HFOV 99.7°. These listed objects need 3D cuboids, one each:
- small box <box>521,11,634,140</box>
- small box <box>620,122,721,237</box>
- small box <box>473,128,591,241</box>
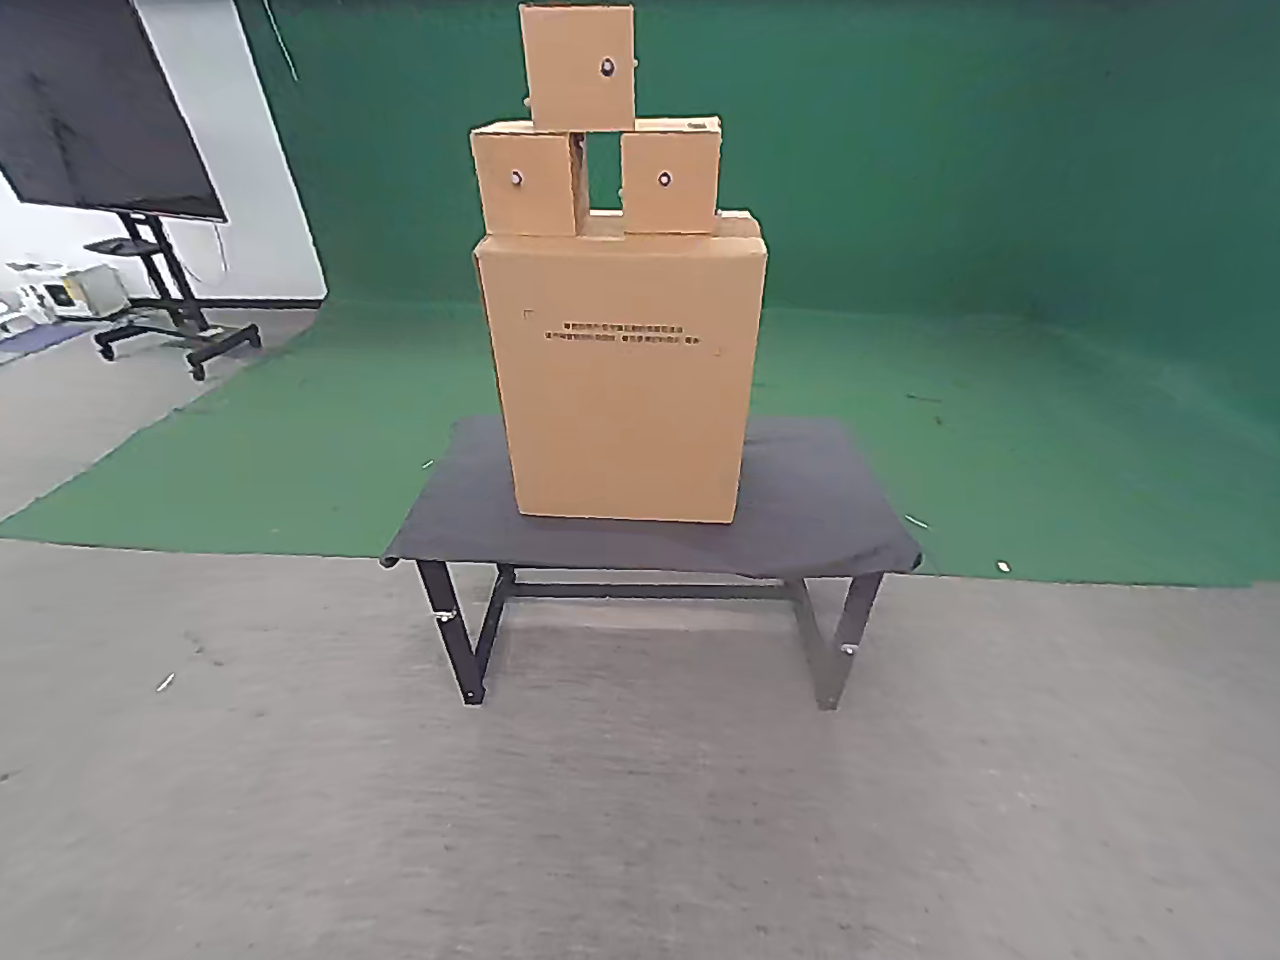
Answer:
[{"bbox_3d":[-0.101,-0.698,0.940,0.179,0.176,0.168,-5,38,-3],"label":"small box"},{"bbox_3d":[0.061,-0.578,1.043,0.179,0.176,0.168,2,40,6],"label":"small box"},{"bbox_3d":[-0.197,-0.570,1.044,0.179,0.176,0.168,3,40,5],"label":"small box"}]
